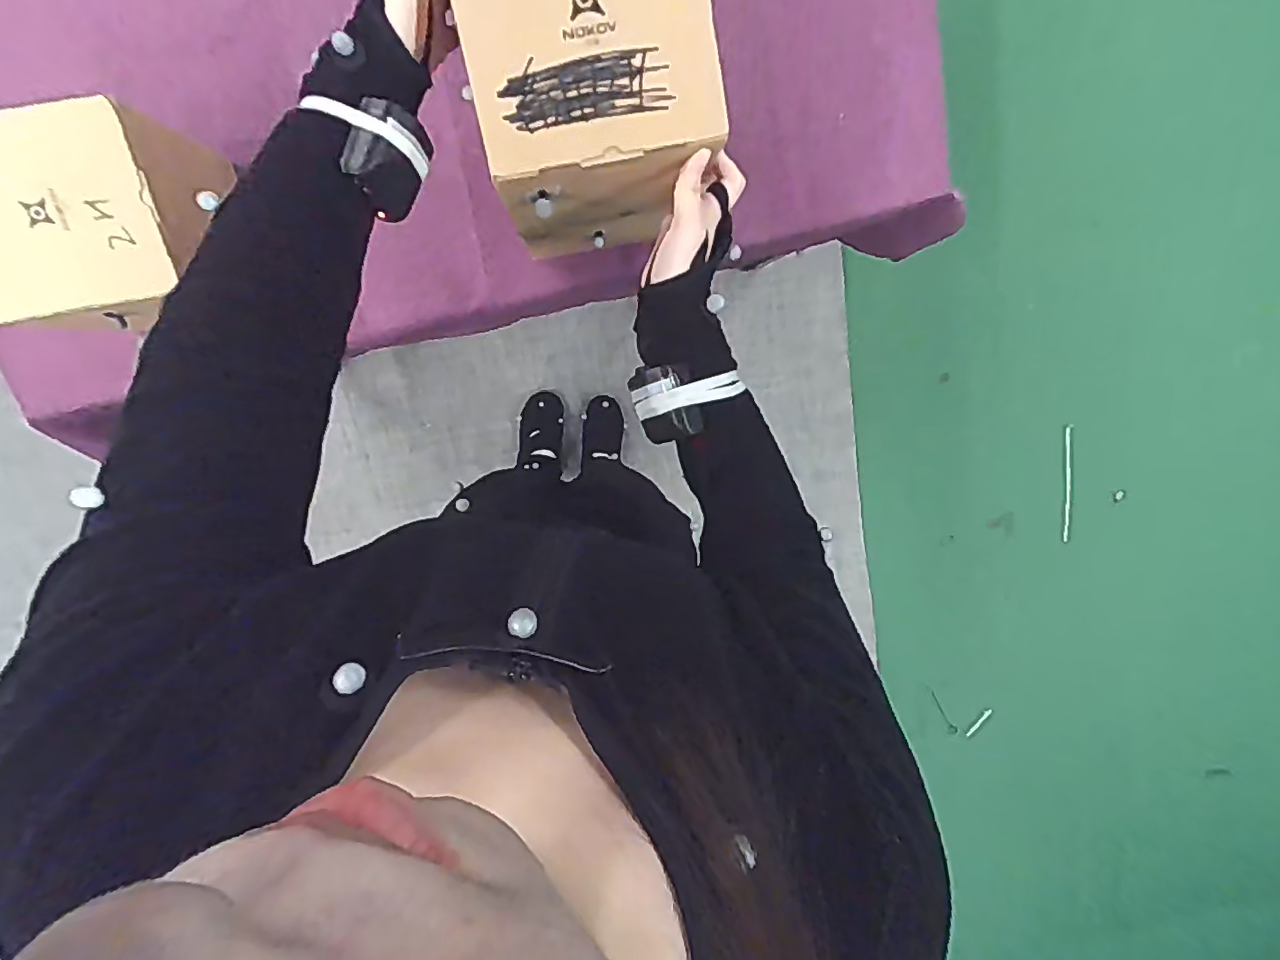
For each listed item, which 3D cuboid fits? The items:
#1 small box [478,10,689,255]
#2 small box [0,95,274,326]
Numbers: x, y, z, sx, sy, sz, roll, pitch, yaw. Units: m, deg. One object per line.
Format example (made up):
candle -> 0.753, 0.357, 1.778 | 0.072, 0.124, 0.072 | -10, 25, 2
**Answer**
small box -> -0.057, -0.355, 0.587 | 0.179, 0.176, 0.168 | -11, 103, -2
small box -> -0.533, -0.258, 0.560 | 0.179, 0.176, 0.168 | -11, 104, -3
